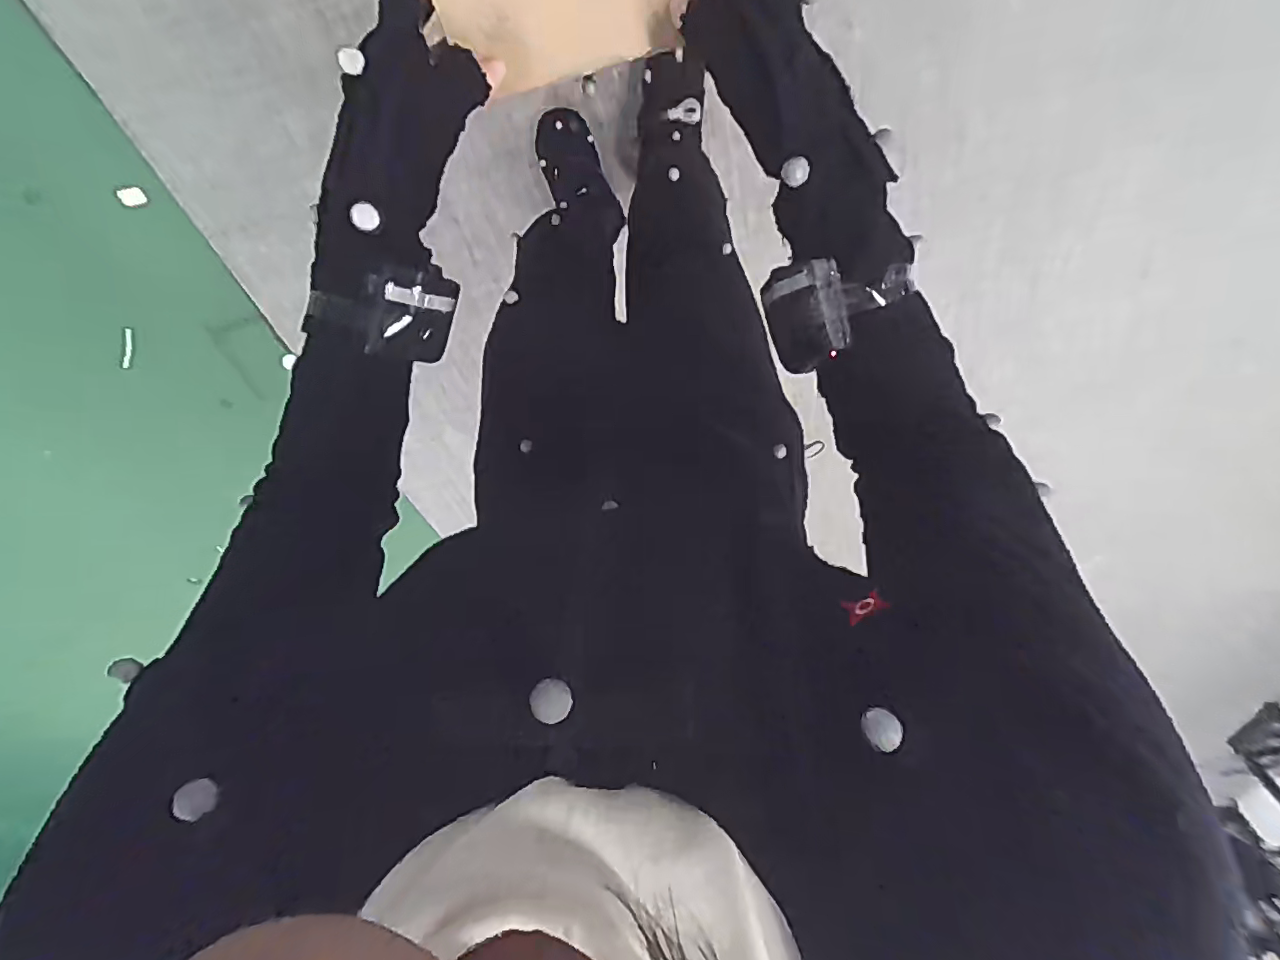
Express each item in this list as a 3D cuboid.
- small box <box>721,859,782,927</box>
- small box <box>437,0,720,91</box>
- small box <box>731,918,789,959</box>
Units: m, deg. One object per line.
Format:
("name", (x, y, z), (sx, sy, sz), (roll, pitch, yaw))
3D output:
("small box", (0.395, 1.488, 1.938), (0.179, 0.176, 0.168), (-16, 133, 8))
("small box", (-0.052, -0.387, 0.372), (0.179, 0.176, 0.168), (-11, 125, 5))
("small box", (0.409, 1.605, 1.824), (0.179, 0.176, 0.168), (-14, 133, 8))
